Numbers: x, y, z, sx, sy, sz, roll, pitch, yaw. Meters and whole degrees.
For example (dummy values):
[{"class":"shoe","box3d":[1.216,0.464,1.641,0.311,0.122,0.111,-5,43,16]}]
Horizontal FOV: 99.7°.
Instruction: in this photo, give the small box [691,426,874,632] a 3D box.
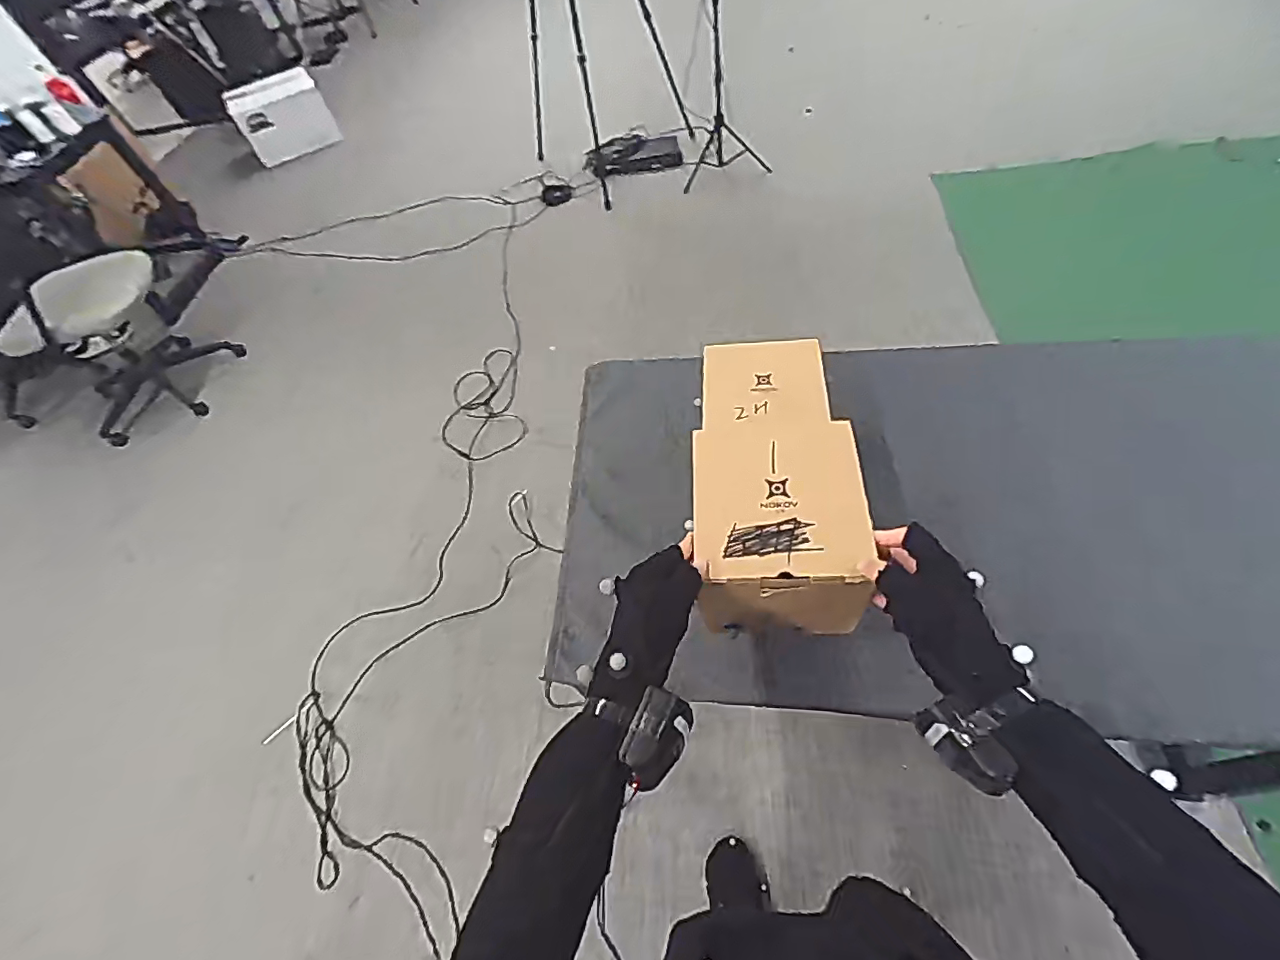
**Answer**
[{"class":"small box","box3d":[0.146,0.062,0.598,0.168,0.176,0.179,-2,57,9]}]

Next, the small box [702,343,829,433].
[{"class":"small box","box3d":[0.180,-0.081,0.810,0.168,0.176,0.179,-1,56,10]}]
